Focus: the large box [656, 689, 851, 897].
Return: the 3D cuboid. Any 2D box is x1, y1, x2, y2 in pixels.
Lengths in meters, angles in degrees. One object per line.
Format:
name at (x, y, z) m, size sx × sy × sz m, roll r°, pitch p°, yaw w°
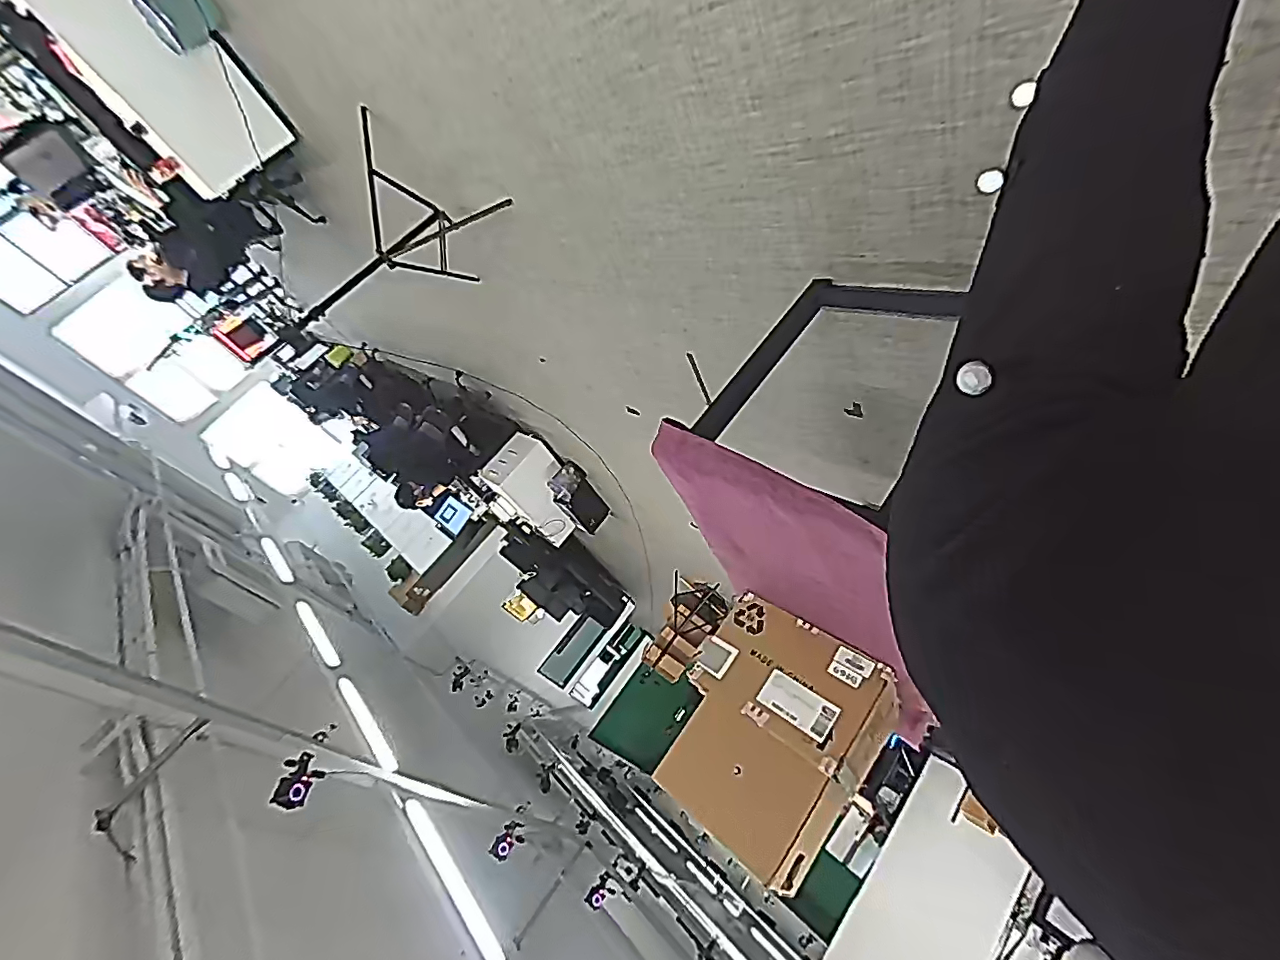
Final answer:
large box at (0.328, 0.882, 1.554) m, size 0.408 × 0.320 × 0.320 m, roll 23°, pitch 157°, yaw 43°
